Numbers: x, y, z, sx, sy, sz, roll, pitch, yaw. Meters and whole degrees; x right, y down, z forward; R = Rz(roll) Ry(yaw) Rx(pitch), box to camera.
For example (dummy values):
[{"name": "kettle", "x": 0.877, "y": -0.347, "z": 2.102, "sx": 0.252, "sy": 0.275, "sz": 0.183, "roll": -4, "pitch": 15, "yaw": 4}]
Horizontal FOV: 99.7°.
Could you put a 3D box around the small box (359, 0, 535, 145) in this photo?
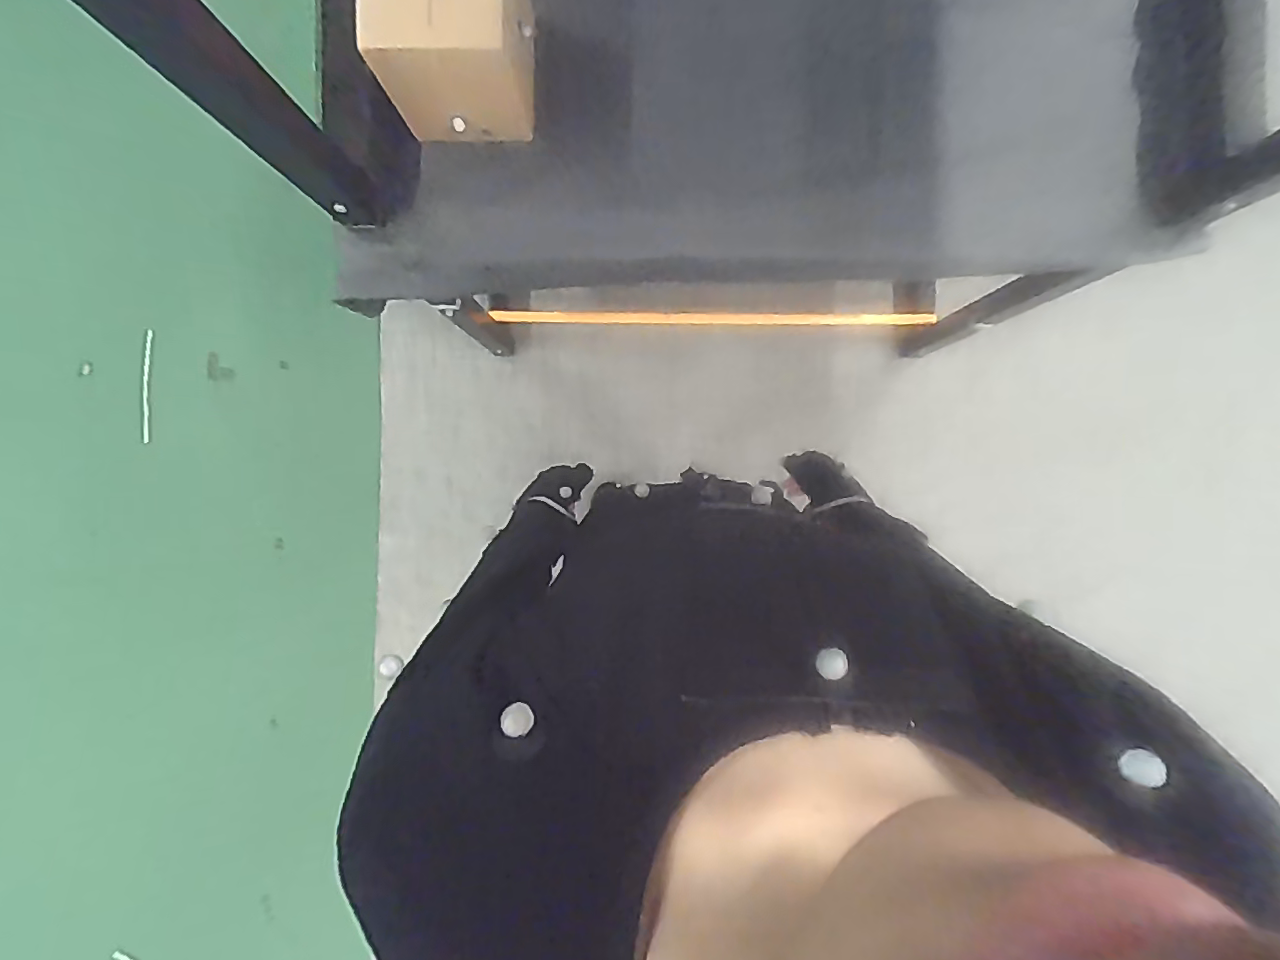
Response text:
[{"name": "small box", "x": -0.232, "y": -0.565, "z": 0.686, "sx": 0.168, "sy": 0.176, "sz": 0.179, "roll": 0, "pitch": 90, "yaw": 0}]
